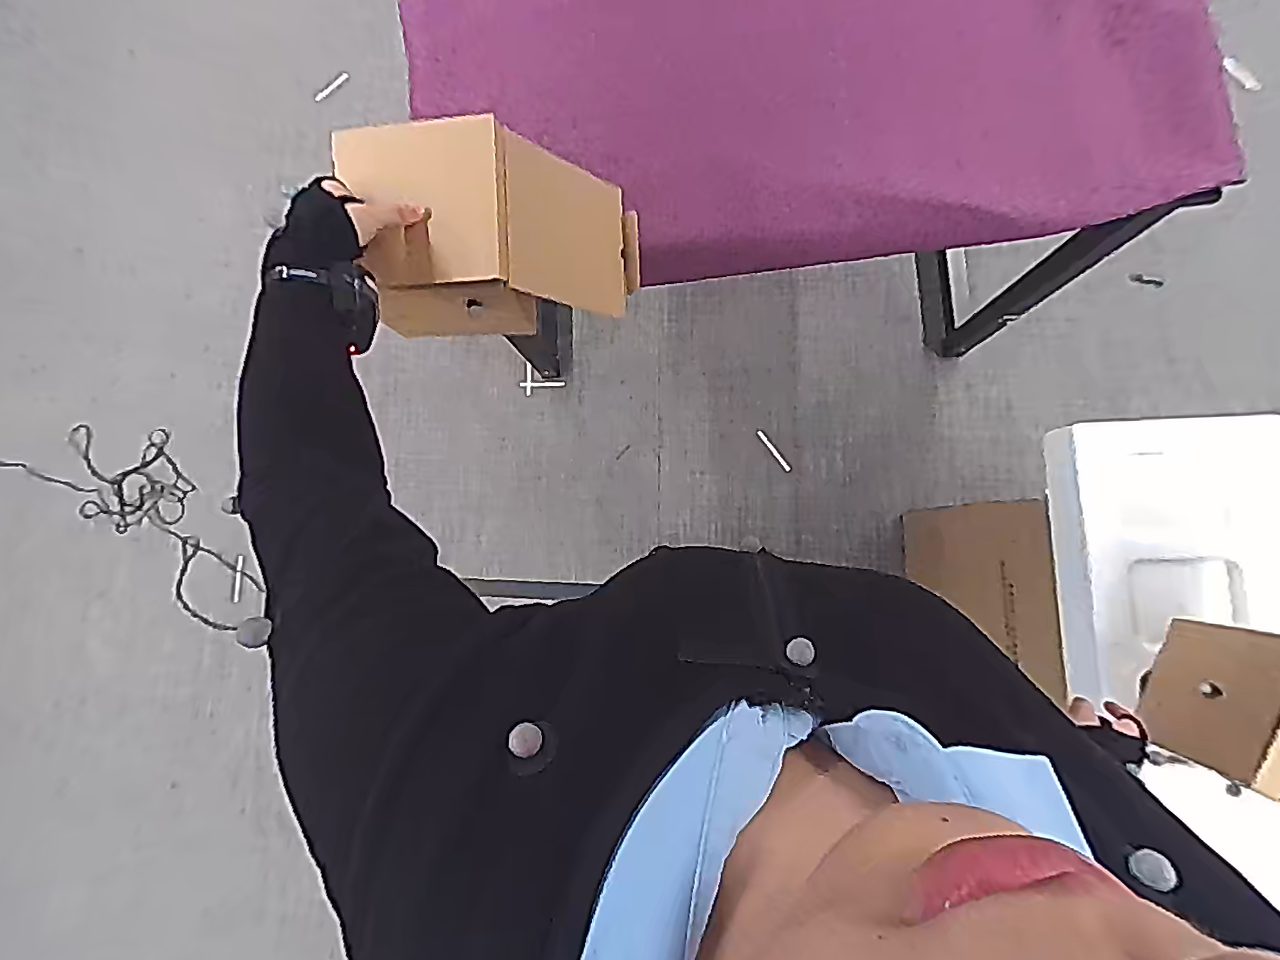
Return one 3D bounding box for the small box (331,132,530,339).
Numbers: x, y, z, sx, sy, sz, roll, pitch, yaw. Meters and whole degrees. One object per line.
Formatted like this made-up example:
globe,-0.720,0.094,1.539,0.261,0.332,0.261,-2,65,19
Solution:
small box,-0.226,-0.268,0.627,0.179,0.176,0.168,-2,88,0
